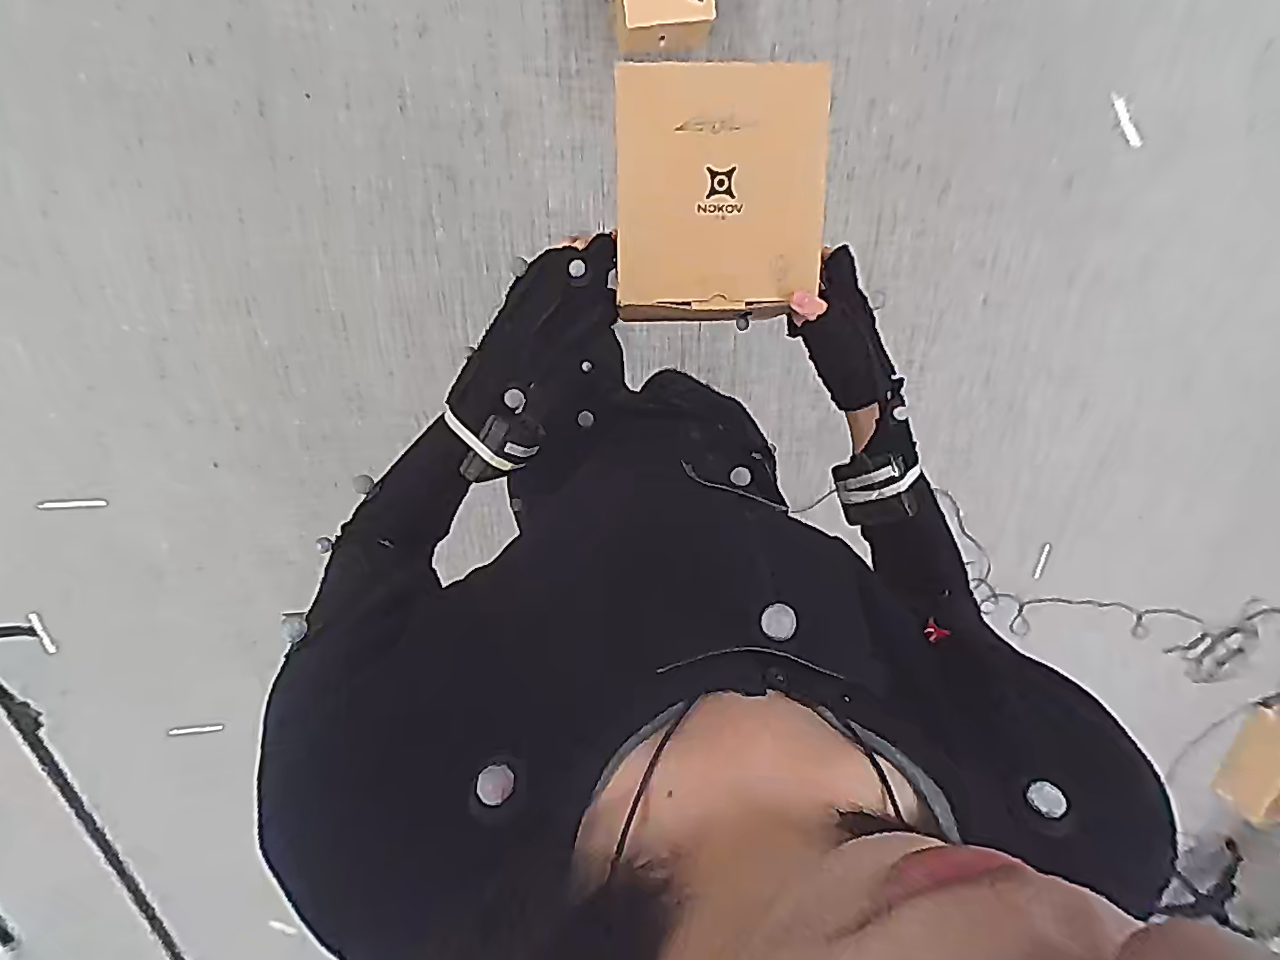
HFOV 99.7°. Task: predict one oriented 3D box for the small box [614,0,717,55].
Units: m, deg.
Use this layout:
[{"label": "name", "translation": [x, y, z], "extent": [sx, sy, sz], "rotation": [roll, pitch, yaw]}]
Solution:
[{"label": "small box", "translation": [0.043, -0.962, 1.058], "extent": [0.179, 0.176, 0.168], "rotation": [-9, 114, -4]}]
